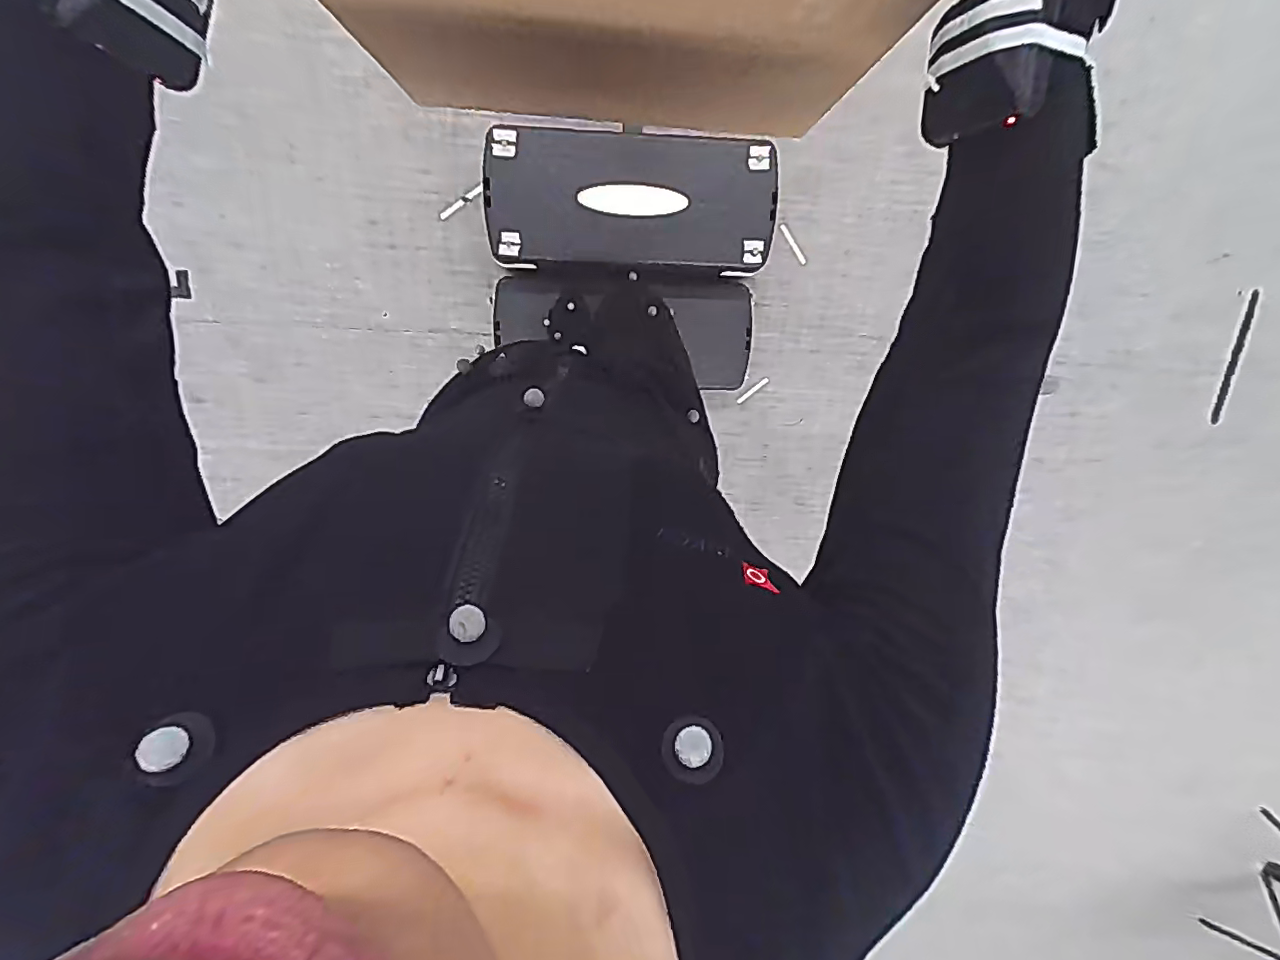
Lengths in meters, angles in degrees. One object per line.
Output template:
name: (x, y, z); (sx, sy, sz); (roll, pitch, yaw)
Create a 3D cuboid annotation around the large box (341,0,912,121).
large box: (-0.013, -0.484, 0.375); (0.408, 0.320, 0.320); (2, 107, -4)

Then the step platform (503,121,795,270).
step platform: (0.019, -0.672, 1.305); (0.684, 0.204, 0.286); (-1, 107, -5)
